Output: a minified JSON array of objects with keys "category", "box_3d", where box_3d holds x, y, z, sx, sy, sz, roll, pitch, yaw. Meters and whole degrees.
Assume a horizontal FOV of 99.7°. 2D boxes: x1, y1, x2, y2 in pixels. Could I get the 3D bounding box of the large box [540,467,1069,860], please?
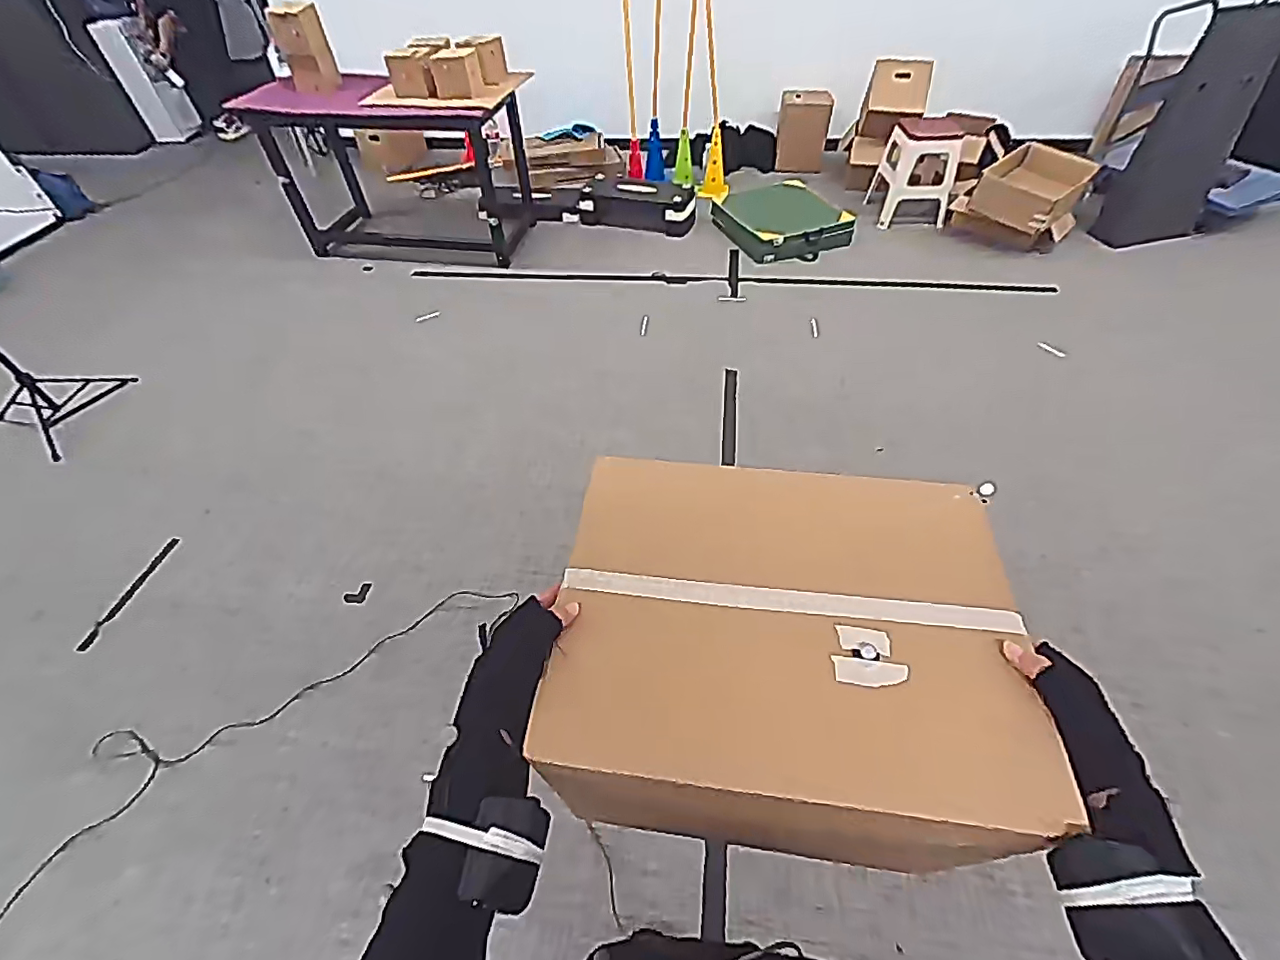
[{"category":"large box","box_3d":[0.136,0.209,0.615,0.408,0.320,0.320,5,52,6]}]
